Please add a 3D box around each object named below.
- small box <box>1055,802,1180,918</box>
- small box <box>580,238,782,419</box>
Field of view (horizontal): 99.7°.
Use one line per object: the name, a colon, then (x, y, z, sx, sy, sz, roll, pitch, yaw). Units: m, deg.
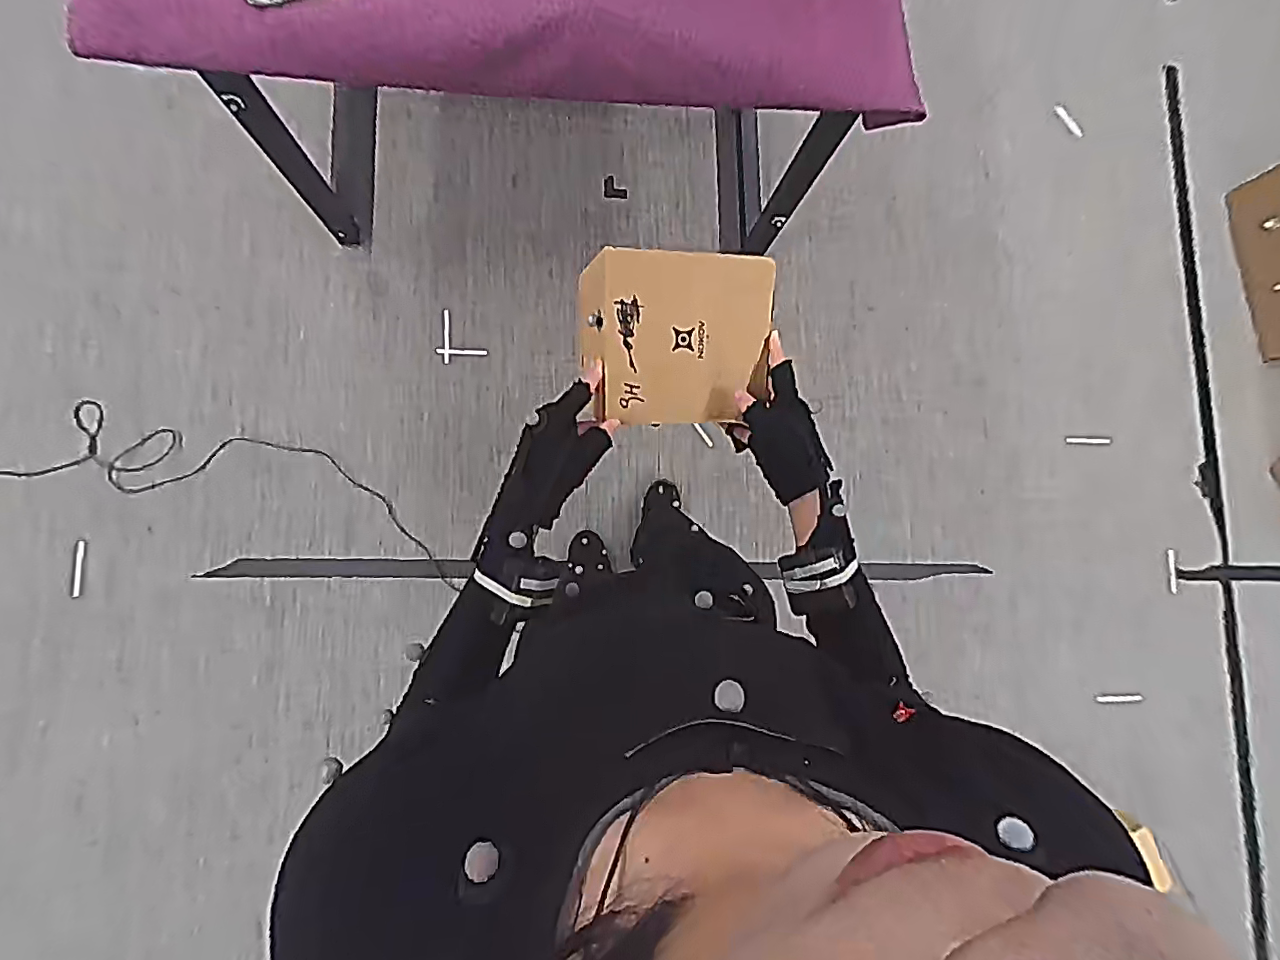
small box: (1.324, 1.052, 1.512, 0.168, 0.176, 0.179, -22, 87, -8)
small box: (0.033, -0.158, 0.600, 0.179, 0.176, 0.168, -2, 102, -15)
